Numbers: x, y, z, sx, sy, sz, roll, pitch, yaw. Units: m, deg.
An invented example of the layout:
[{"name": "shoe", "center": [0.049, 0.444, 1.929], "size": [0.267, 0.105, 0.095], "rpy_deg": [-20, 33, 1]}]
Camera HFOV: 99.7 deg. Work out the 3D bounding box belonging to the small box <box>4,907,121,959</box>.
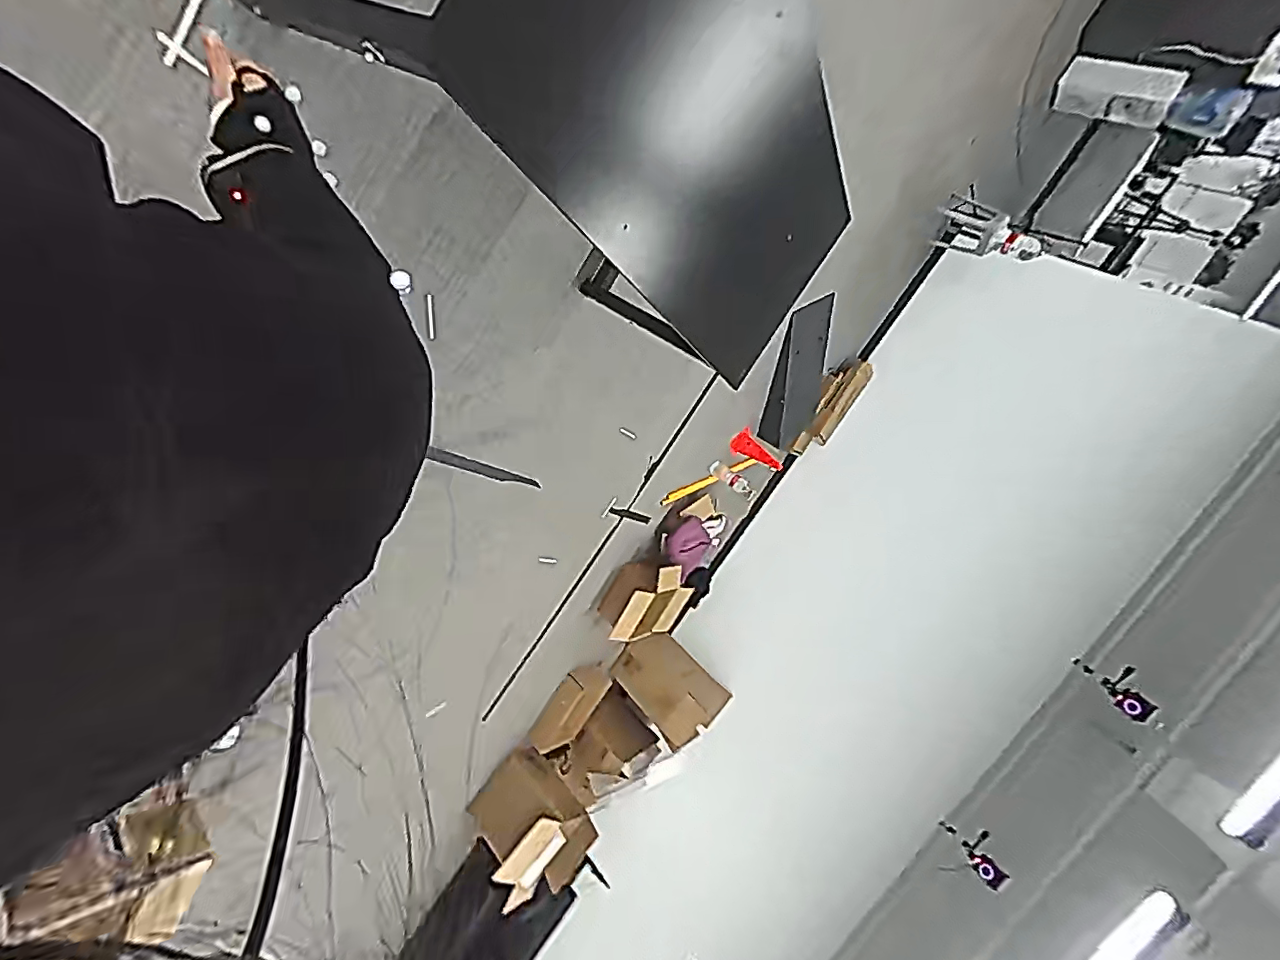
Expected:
[{"name": "small box", "center": [-1.361, 1.167, 1.260], "size": [0.179, 0.176, 0.168], "rpy_deg": [8, 112, -57]}]
